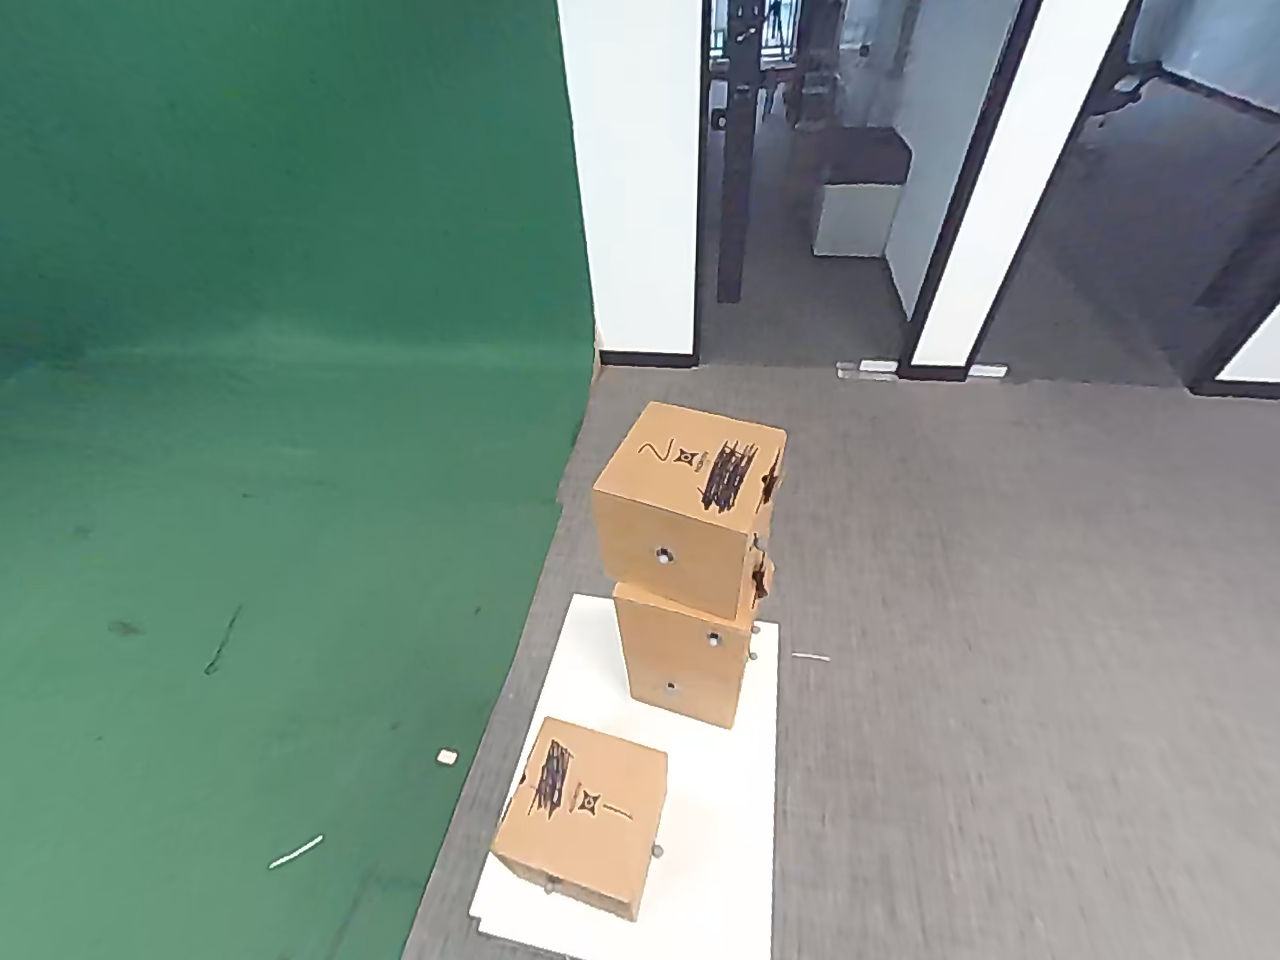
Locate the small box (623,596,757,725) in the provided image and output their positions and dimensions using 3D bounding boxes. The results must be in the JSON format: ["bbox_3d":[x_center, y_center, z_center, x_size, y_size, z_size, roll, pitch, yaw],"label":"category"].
[{"bbox_3d":[0.085,0.275,0.887,0.179,0.176,0.168,11,48,15],"label":"small box"}]

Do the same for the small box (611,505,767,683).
[{"bbox_3d":[0.072,0.163,0.769,0.179,0.176,0.168,11,48,14],"label":"small box"}]

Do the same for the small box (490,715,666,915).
[{"bbox_3d":[-0.070,0.449,0.723,0.179,0.176,0.168,12,47,13],"label":"small box"}]
